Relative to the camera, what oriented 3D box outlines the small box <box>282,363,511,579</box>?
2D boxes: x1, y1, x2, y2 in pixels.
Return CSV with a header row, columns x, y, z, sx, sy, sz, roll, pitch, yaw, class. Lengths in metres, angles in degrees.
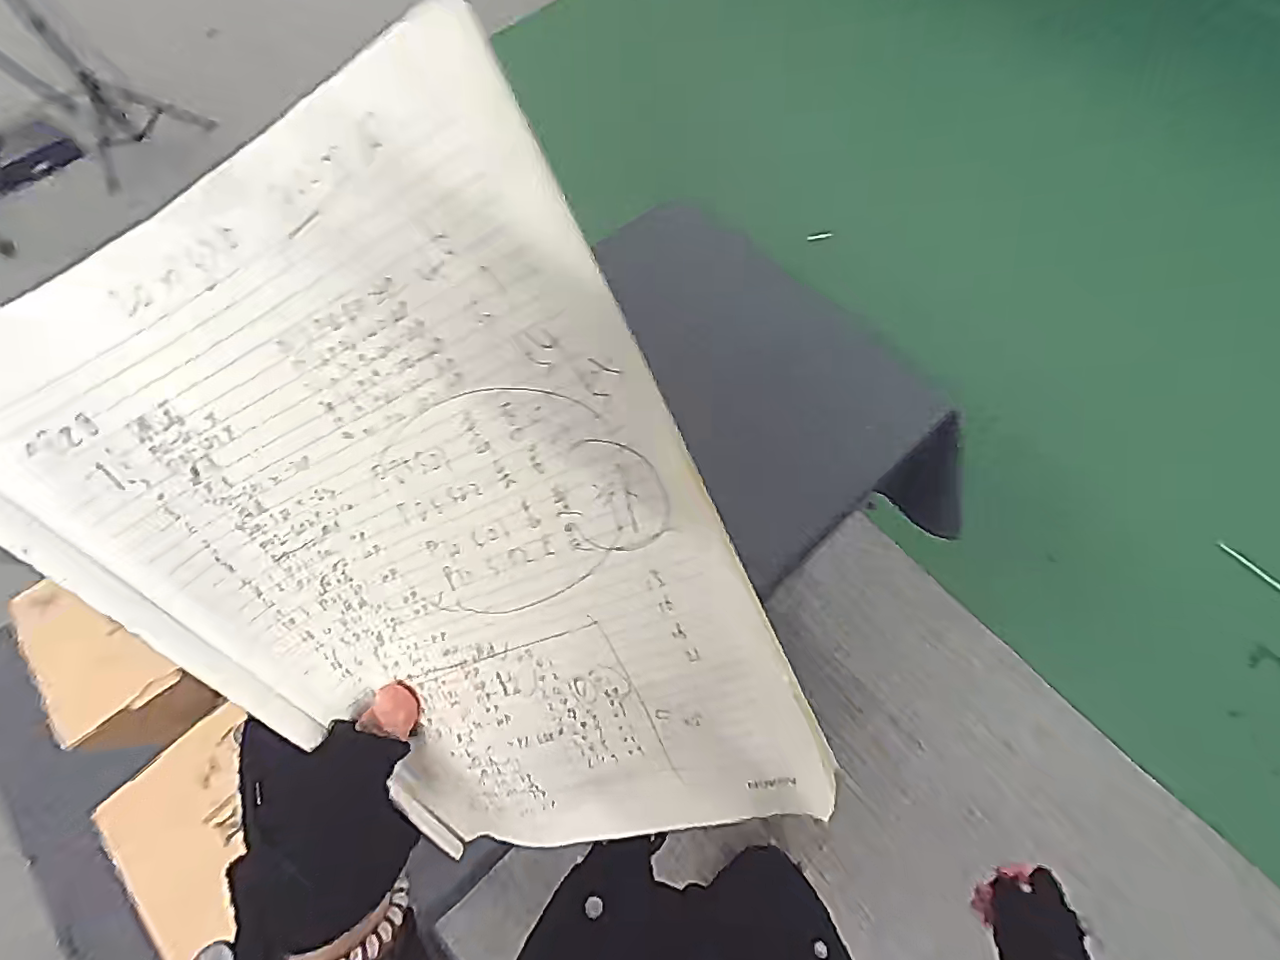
x,y,z,sx,sy,sz,roll,pitch,yaw,class
-0.287,-0.002,0.672,0.168,0.176,0.179,-37,72,-13,small box
